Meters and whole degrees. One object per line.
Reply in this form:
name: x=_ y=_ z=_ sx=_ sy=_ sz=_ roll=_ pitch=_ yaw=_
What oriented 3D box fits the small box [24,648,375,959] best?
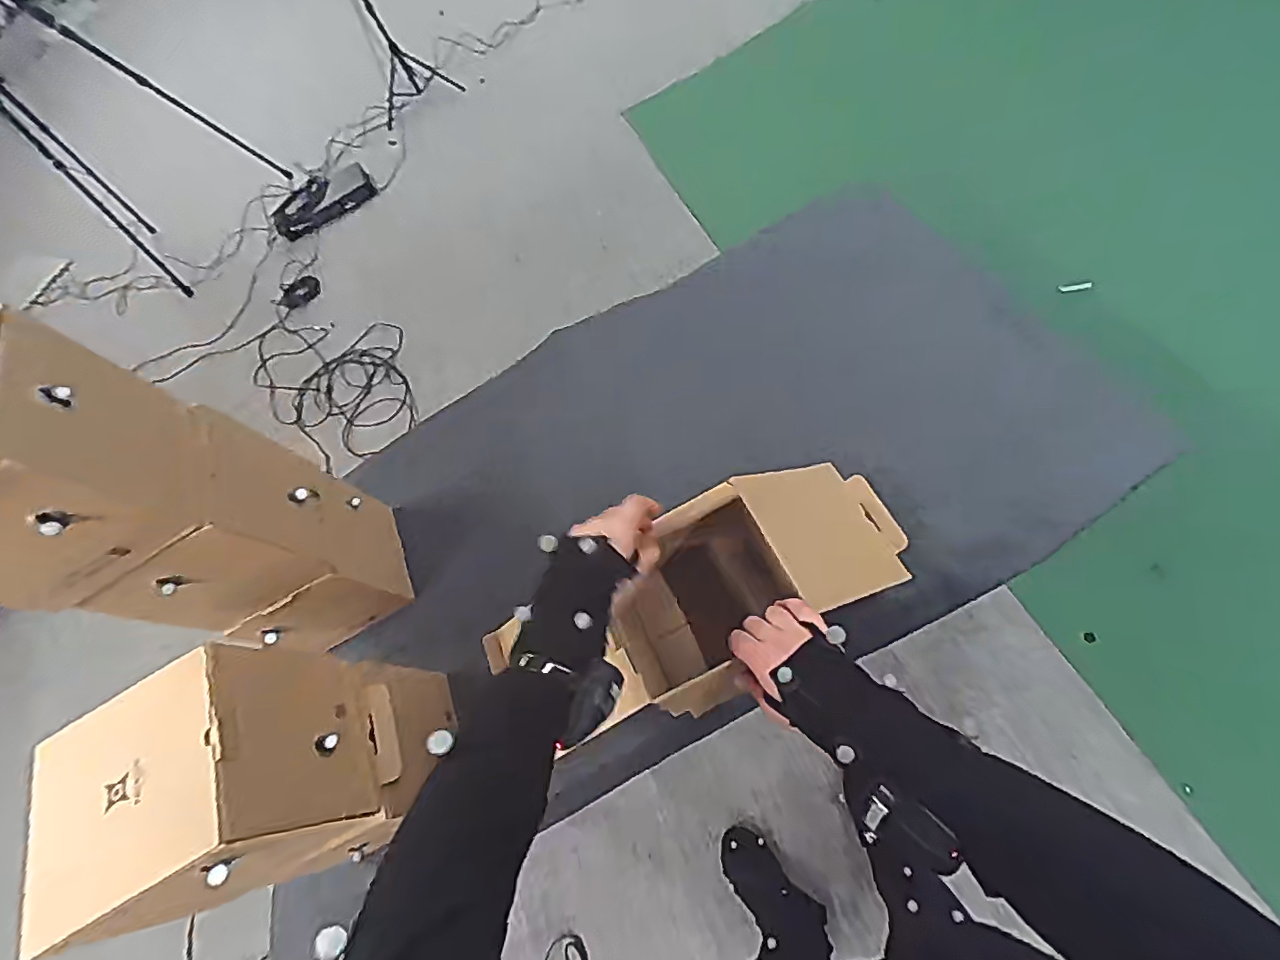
small box: x=-0.386 y=0.282 z=0.498 sx=0.179 sy=0.176 sz=0.168 roll=-32 pitch=62 yaw=0

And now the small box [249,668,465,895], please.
small box: x=-0.329 y=0.341 z=0.639 sx=0.179 sy=0.176 sz=0.168 roll=-28 pitch=62 yaw=3

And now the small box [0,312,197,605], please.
small box: x=-0.544 y=-0.005 z=0.486 sx=0.168 sy=0.176 sz=0.179 roll=-32 pitch=61 yaw=-1

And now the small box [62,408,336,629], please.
small box: x=-0.497 y=0.056 z=0.629 sx=0.179 sy=0.176 sz=0.168 roll=-29 pitch=63 yaw=2
